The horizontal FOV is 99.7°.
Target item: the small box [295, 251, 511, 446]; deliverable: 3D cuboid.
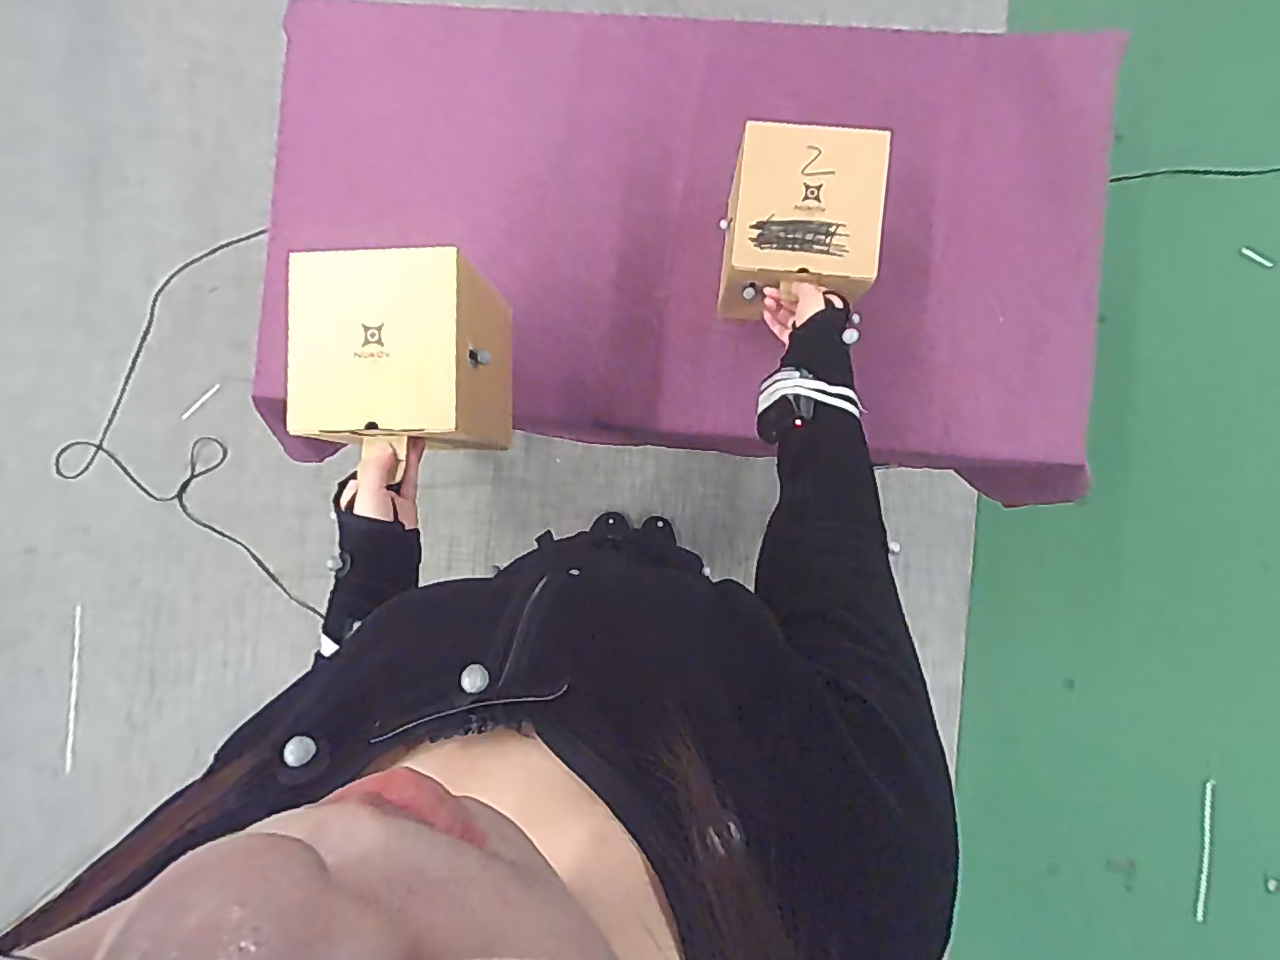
[{"bbox_3d":[-0.248,-0.133,0.603,0.168,0.176,0.179,0,89,4],"label":"small box"}]
